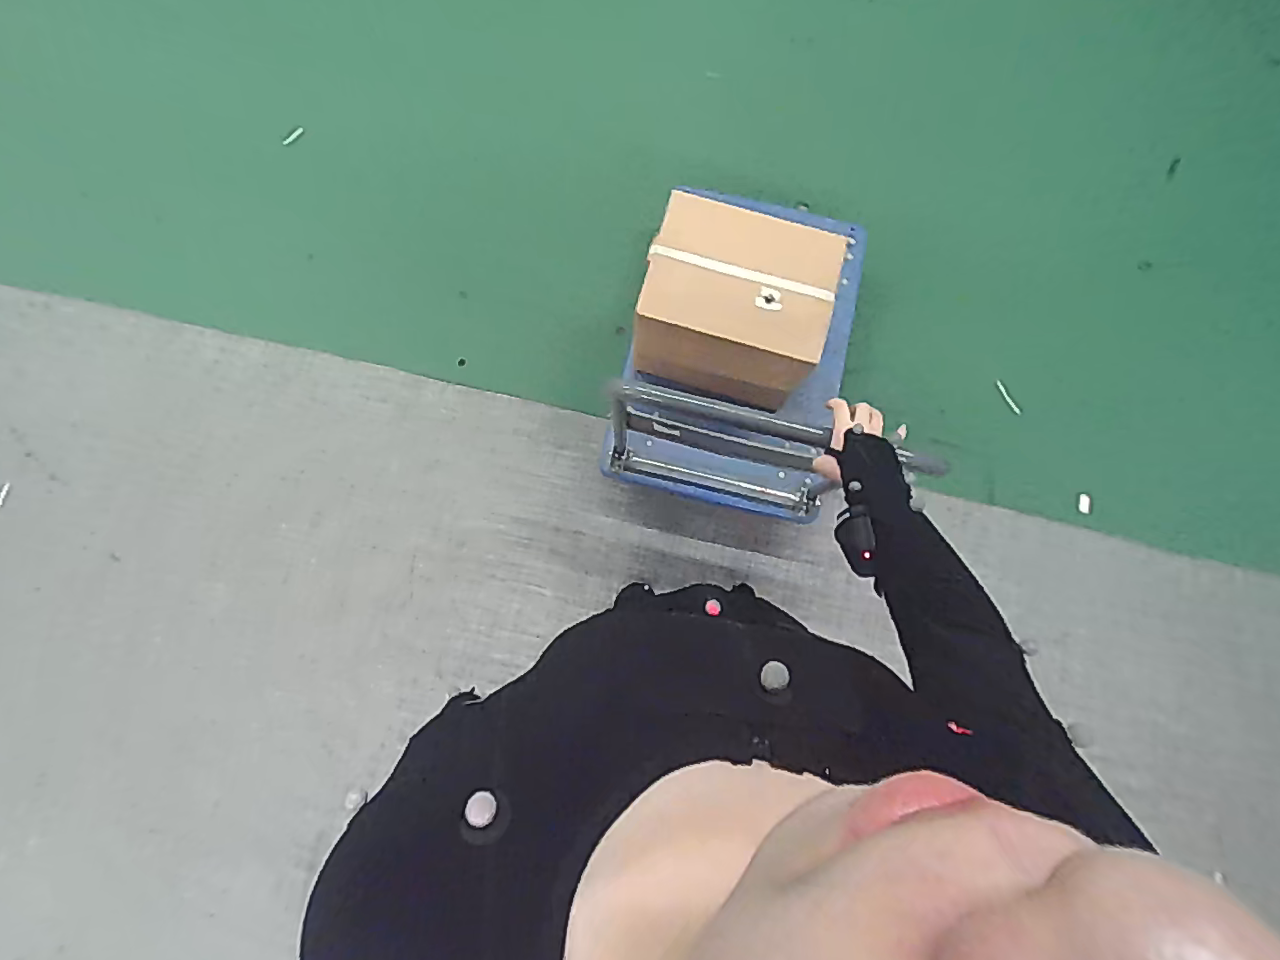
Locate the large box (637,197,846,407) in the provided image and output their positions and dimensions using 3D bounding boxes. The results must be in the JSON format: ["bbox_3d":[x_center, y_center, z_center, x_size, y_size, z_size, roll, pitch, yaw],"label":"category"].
[{"bbox_3d":[0.226,-0.415,1.327,0.408,0.320,0.320,16,79,1],"label":"large box"}]
